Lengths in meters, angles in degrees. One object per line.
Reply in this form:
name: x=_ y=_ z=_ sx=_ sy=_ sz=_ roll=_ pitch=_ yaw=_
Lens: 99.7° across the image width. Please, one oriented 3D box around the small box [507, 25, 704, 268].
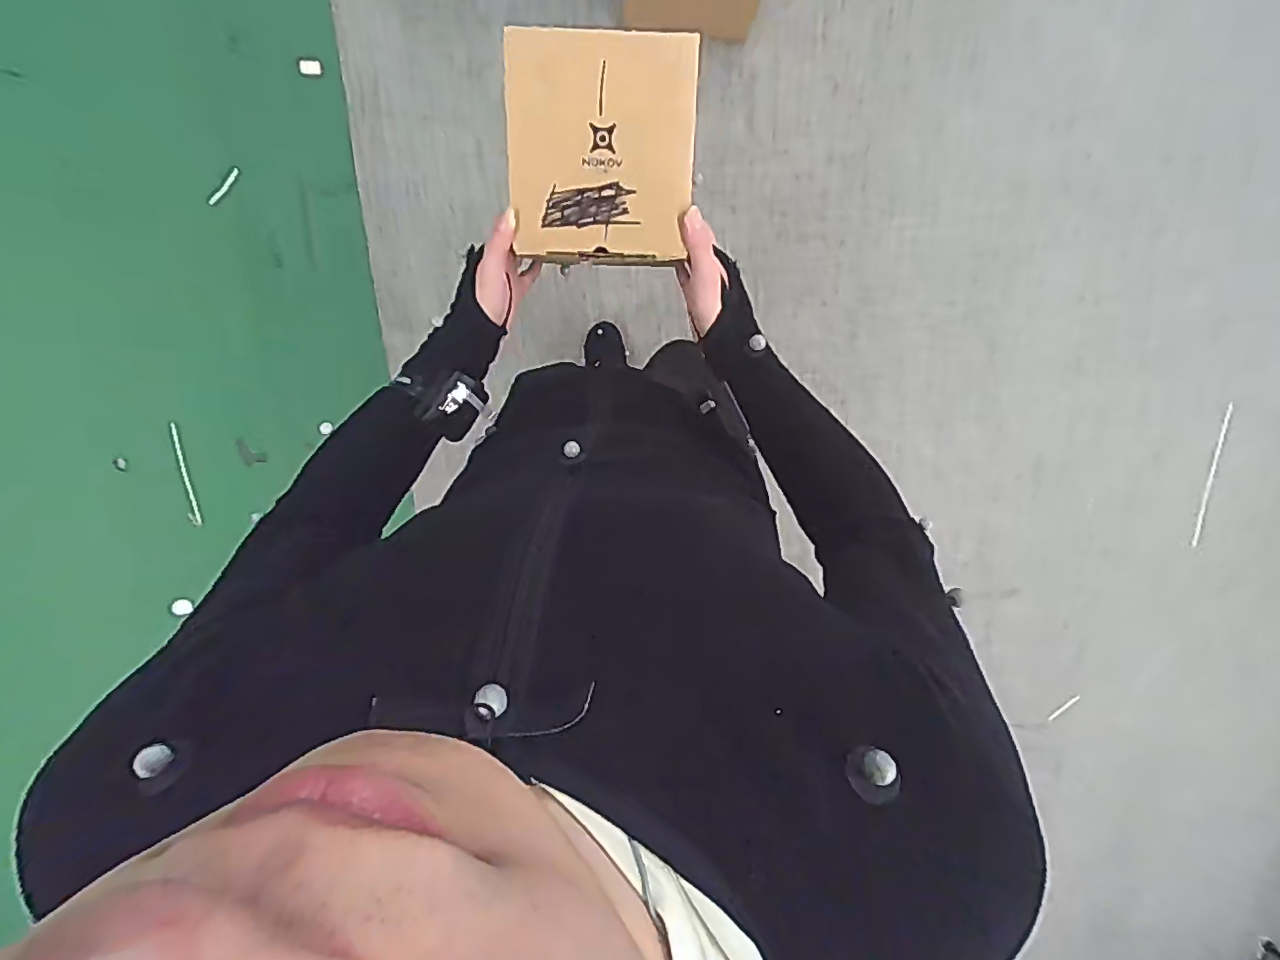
small box: x=-0.032 y=-0.312 z=0.546 sx=0.168 sy=0.176 sz=0.179 roll=1 pitch=108 yaw=-2
